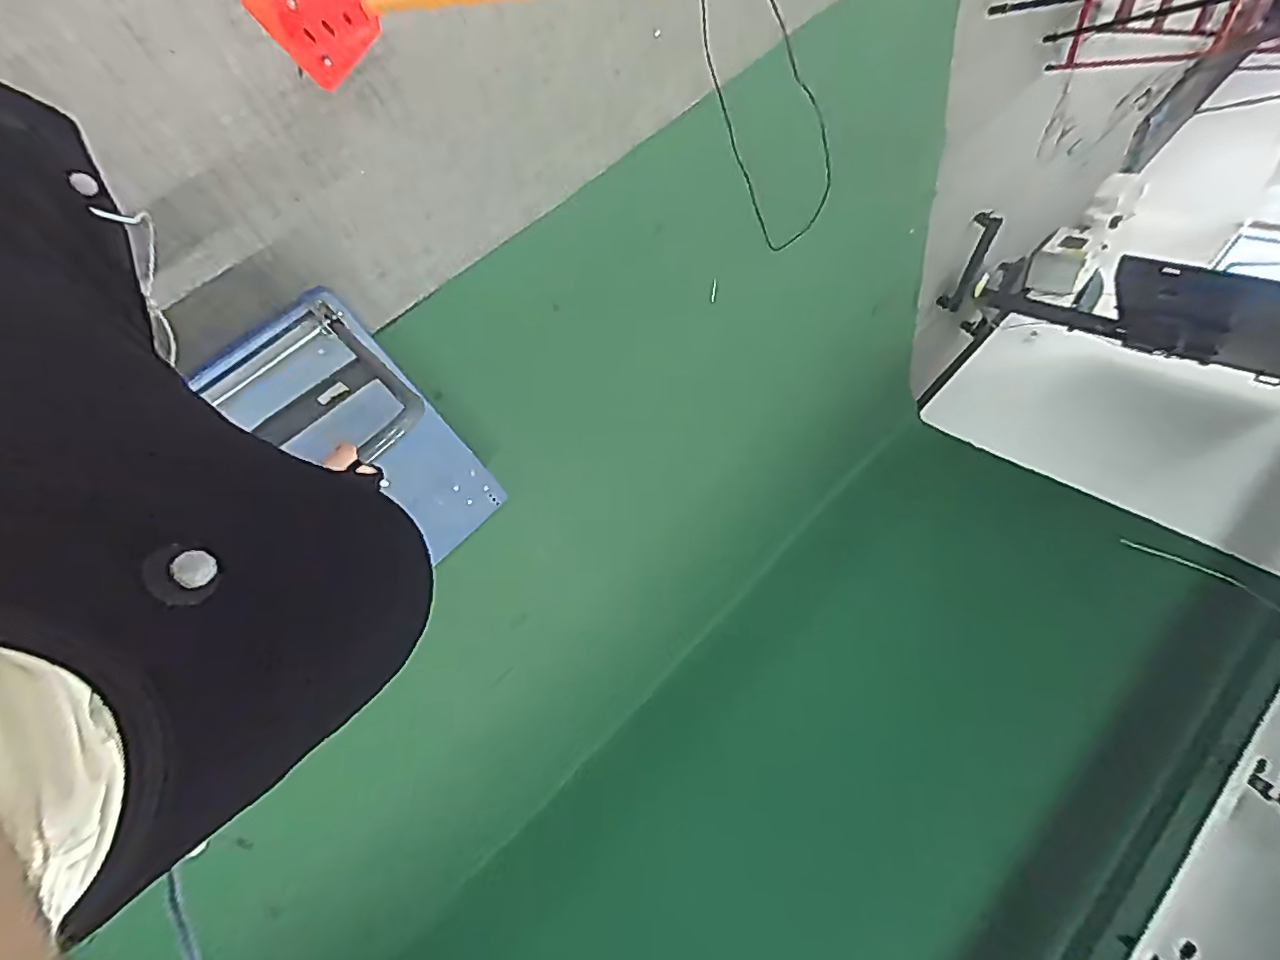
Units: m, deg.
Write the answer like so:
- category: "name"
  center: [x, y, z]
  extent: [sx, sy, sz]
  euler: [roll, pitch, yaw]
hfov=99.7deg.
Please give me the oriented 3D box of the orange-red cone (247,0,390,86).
- category: "orange-red cone"
  center: [-0.561, -0.896, 1.024]
  extent: [0.199, 0.360, 0.198]
  euler: [-53, 144, -3]
